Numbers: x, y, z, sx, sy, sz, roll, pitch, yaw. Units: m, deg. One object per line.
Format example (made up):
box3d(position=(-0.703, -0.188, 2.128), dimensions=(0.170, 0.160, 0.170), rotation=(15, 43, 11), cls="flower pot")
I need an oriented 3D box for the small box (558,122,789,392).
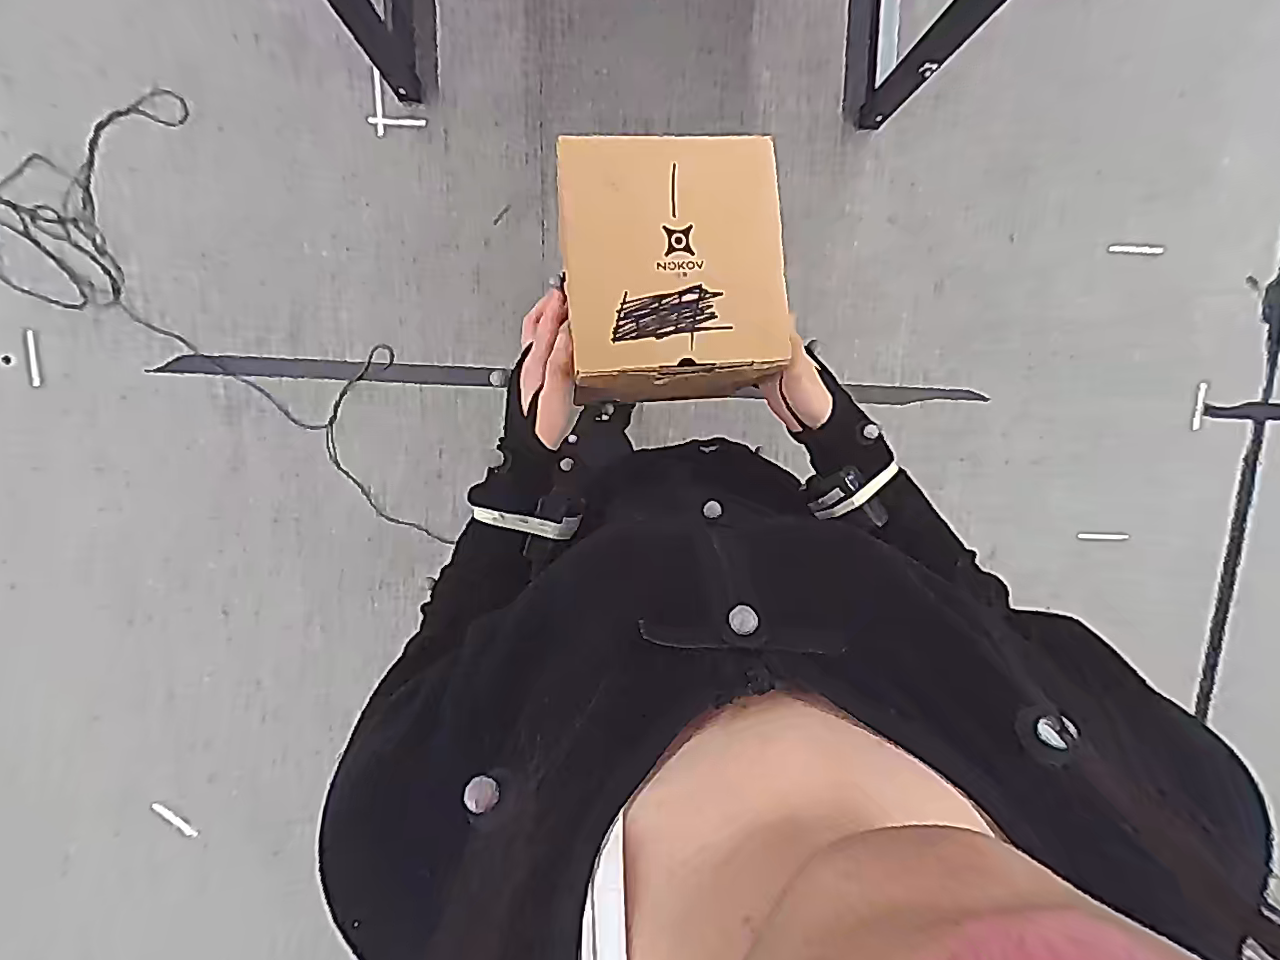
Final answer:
box3d(position=(0.018, -0.175, 0.478), dimensions=(0.168, 0.176, 0.179), rotation=(-4, 89, -8), cls="small box")
